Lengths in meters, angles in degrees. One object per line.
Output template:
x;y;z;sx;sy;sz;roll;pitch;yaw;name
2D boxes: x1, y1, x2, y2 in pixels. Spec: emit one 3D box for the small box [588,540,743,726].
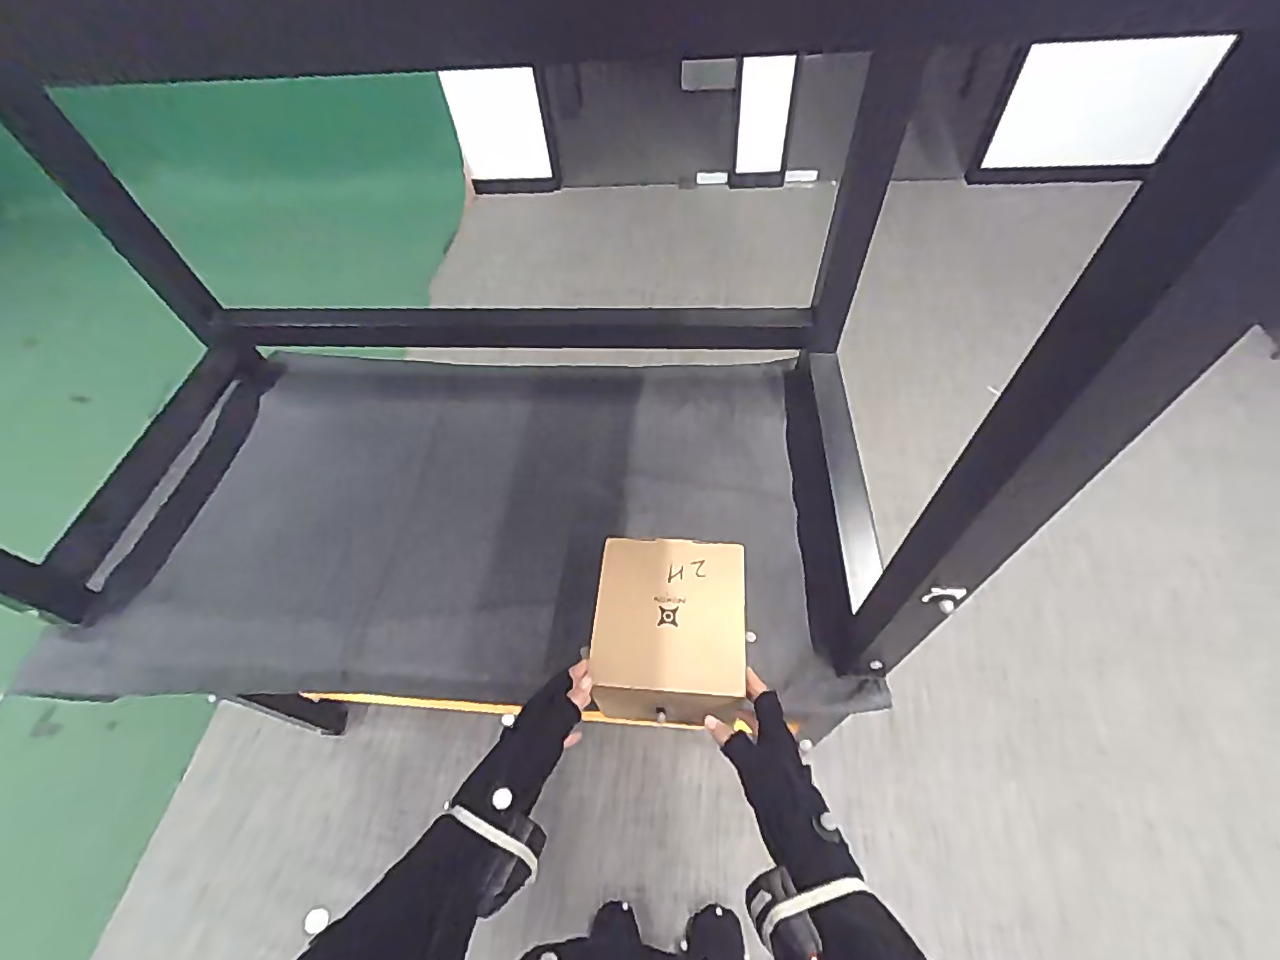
0.039;0.193;0.667;0.168;0.176;0.179;2;55;5;small box
